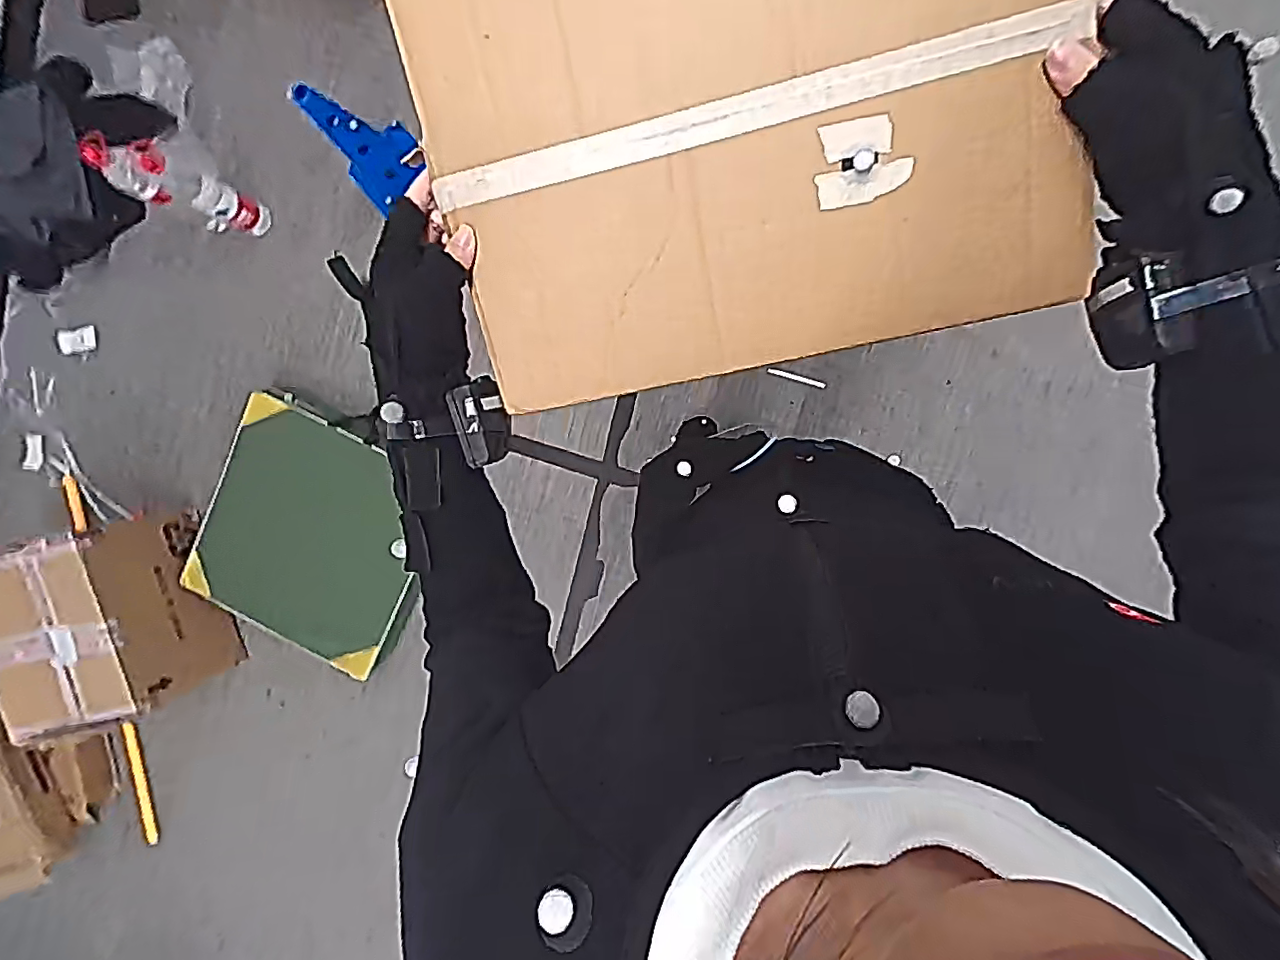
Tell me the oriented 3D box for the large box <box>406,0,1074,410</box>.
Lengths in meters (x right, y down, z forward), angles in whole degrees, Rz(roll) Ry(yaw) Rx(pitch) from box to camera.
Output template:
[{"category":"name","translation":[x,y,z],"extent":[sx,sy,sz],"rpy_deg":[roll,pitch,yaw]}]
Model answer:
[{"category":"large box","translation":[0.078,-0.276,0.495],"extent":[0.408,0.320,0.320],"rpy_deg":[-11,107,7]}]
